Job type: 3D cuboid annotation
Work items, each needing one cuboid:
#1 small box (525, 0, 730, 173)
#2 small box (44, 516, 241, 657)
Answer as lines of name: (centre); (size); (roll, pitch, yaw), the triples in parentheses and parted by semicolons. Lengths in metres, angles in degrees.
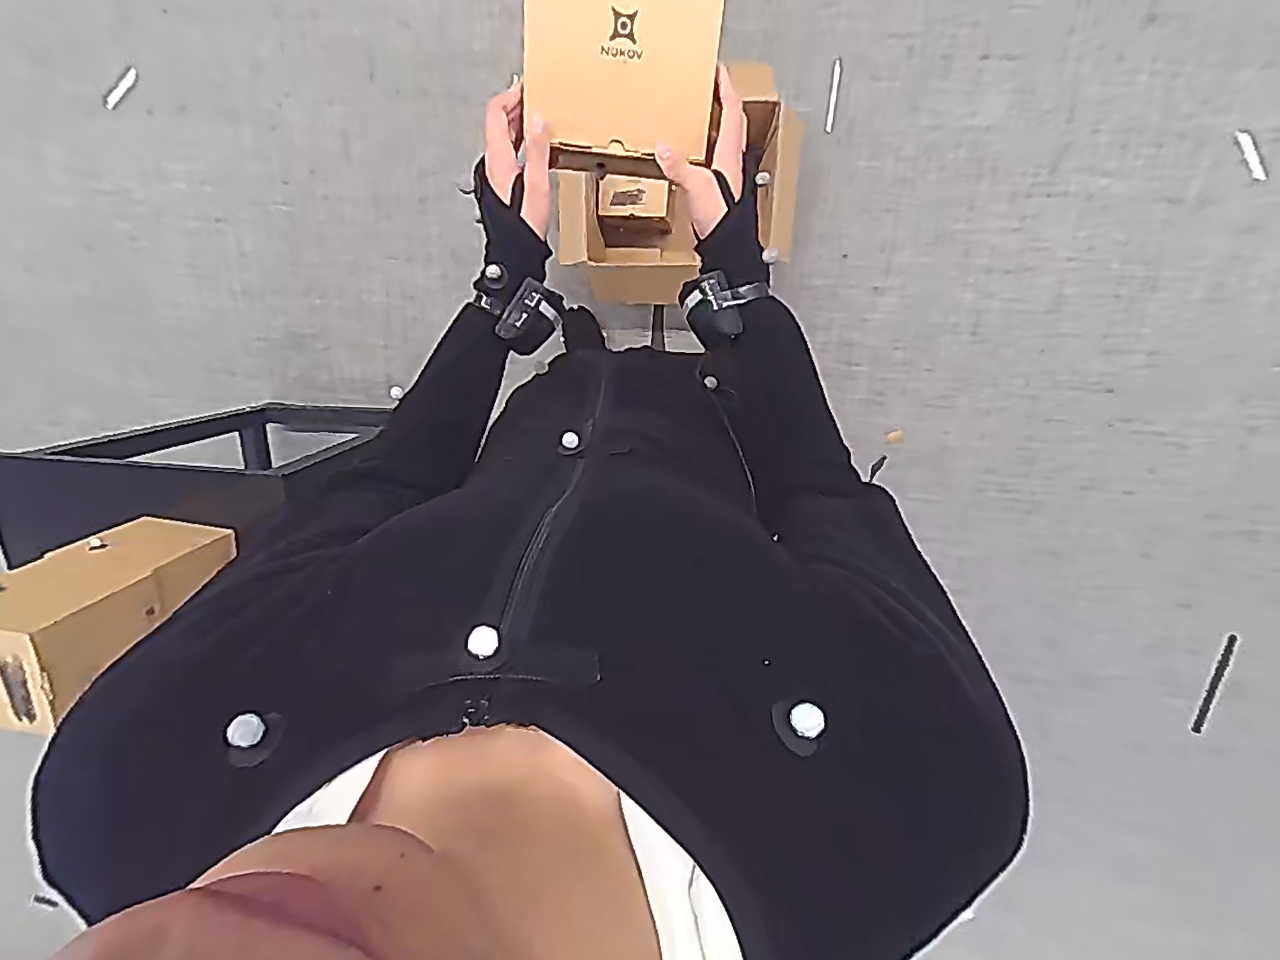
small box: (-0.017, -0.406, 0.512); (0.168, 0.176, 0.179); (3, 115, -6)
small box: (-0.840, 0.173, 0.932); (0.179, 0.176, 0.168); (9, 109, 2)
